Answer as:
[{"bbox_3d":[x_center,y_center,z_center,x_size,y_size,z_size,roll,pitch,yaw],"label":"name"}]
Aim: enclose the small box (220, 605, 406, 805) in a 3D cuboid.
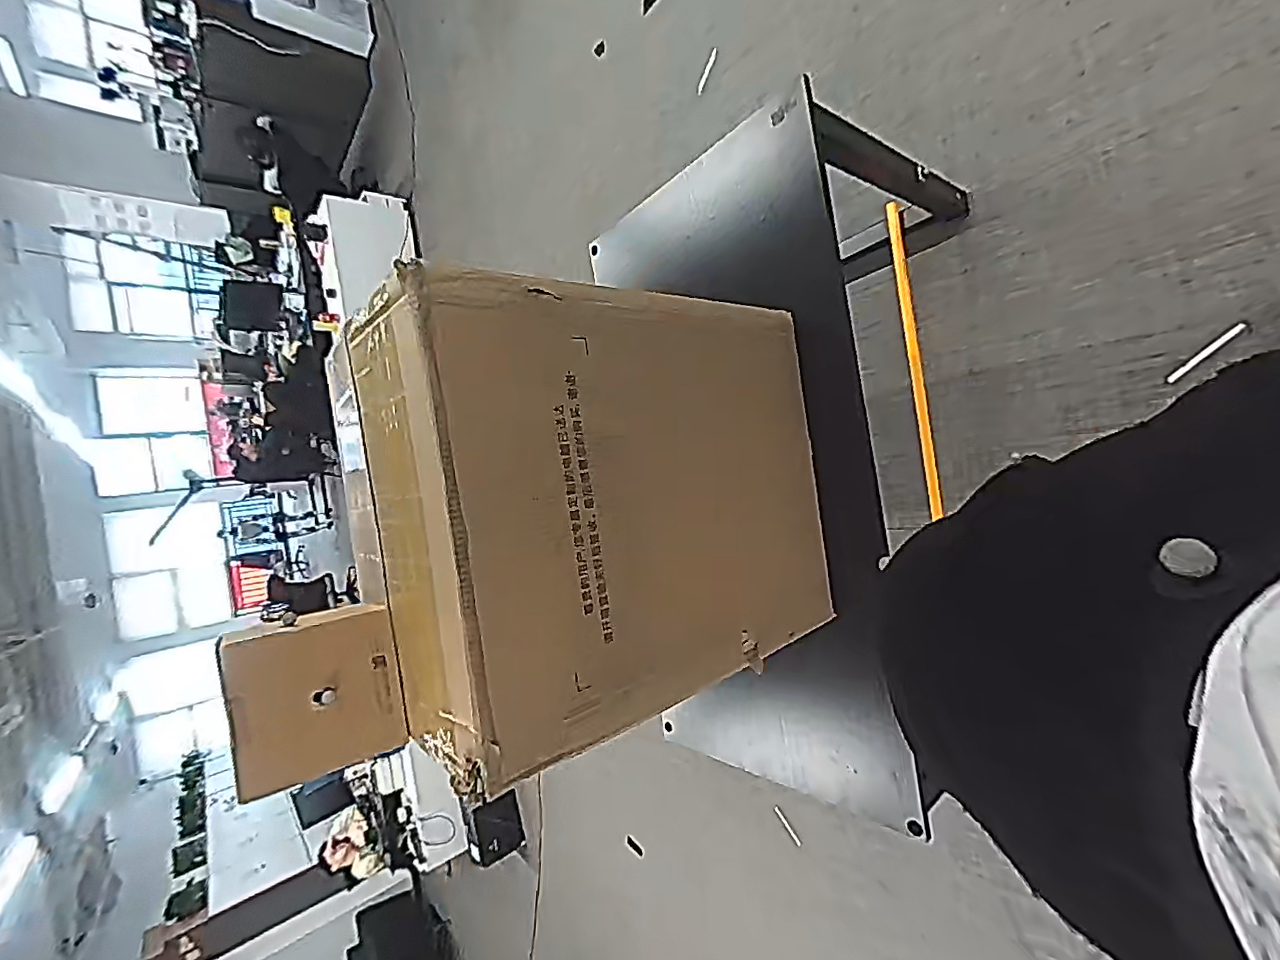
[{"bbox_3d":[-0.400,0.256,0.667,0.179,0.176,0.168,-15,84,52],"label":"small box"}]
